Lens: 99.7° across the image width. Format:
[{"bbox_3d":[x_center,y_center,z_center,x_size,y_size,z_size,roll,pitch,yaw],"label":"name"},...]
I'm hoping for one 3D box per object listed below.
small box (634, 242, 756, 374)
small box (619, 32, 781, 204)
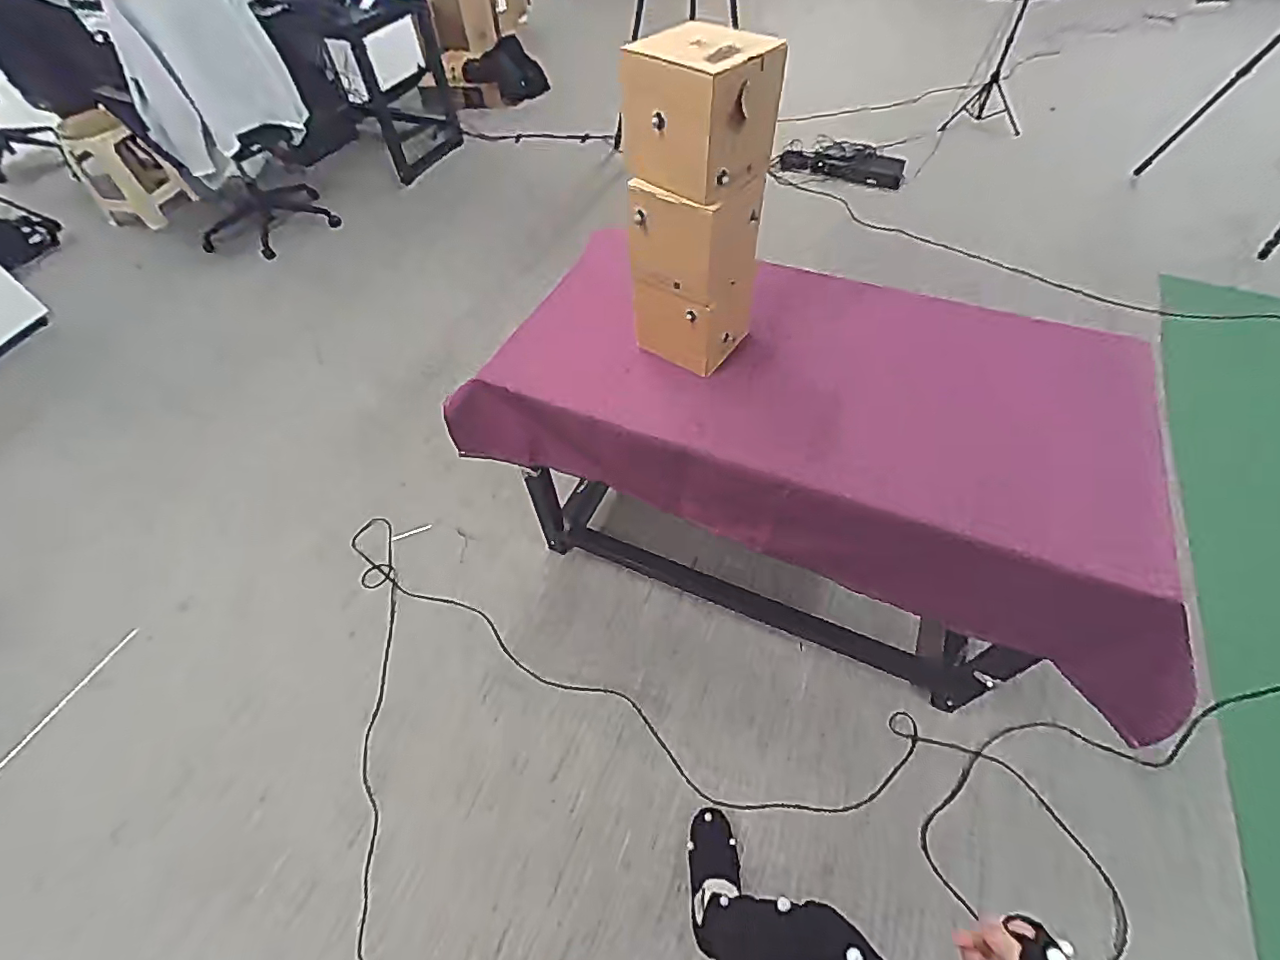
[{"bbox_3d":[0.107,-0.341,1.086,0.179,0.176,0.168,29,60,22],"label":"small box"},{"bbox_3d":[0.088,-0.554,0.835,0.179,0.176,0.168,36,62,26],"label":"small box"}]
